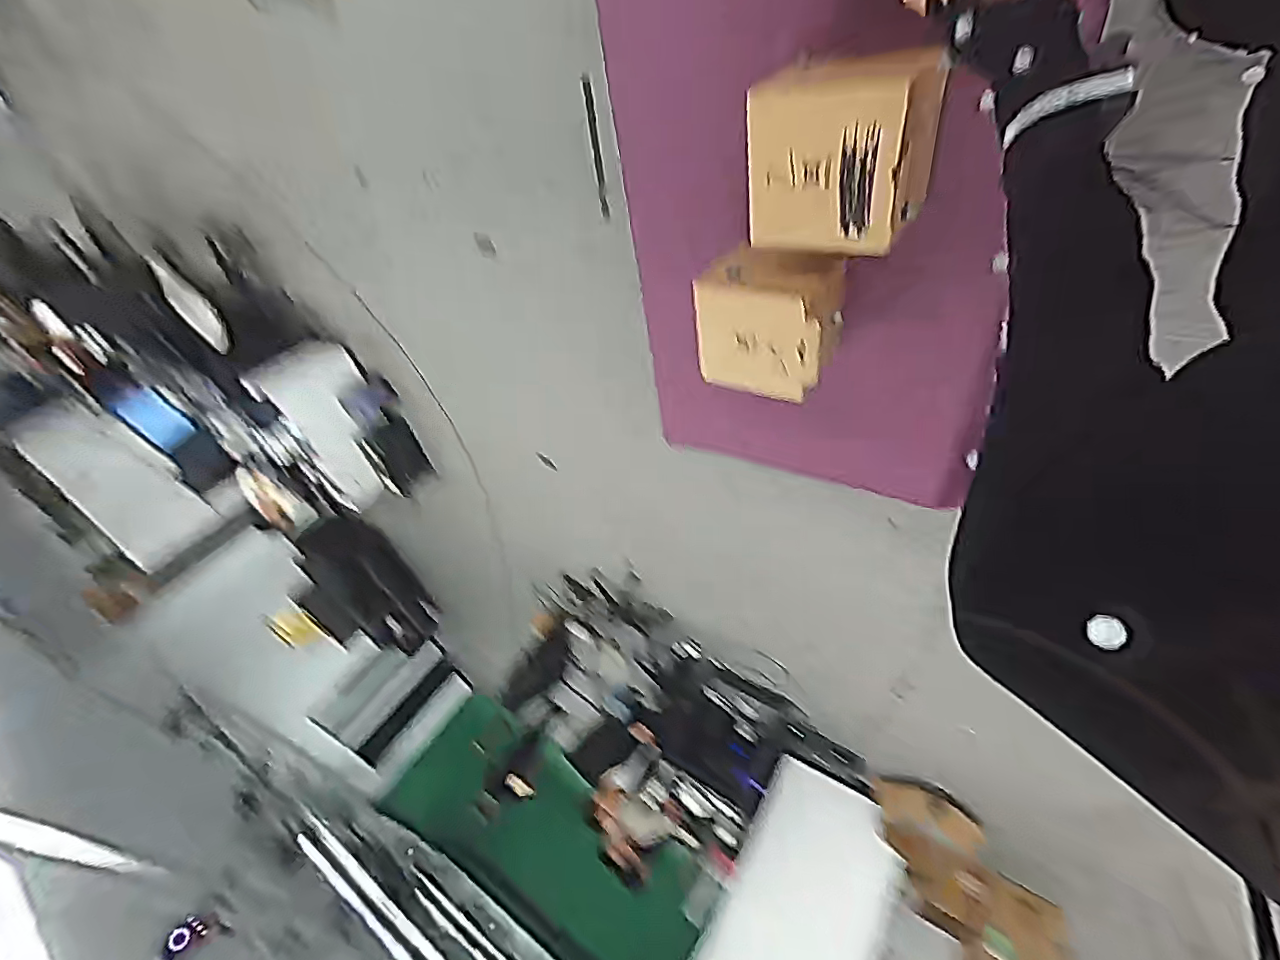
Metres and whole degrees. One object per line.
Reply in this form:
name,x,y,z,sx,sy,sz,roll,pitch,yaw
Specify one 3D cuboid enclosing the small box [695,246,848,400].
small box,0.207,-0.254,0.854,0.179,0.176,0.168,18,141,29
